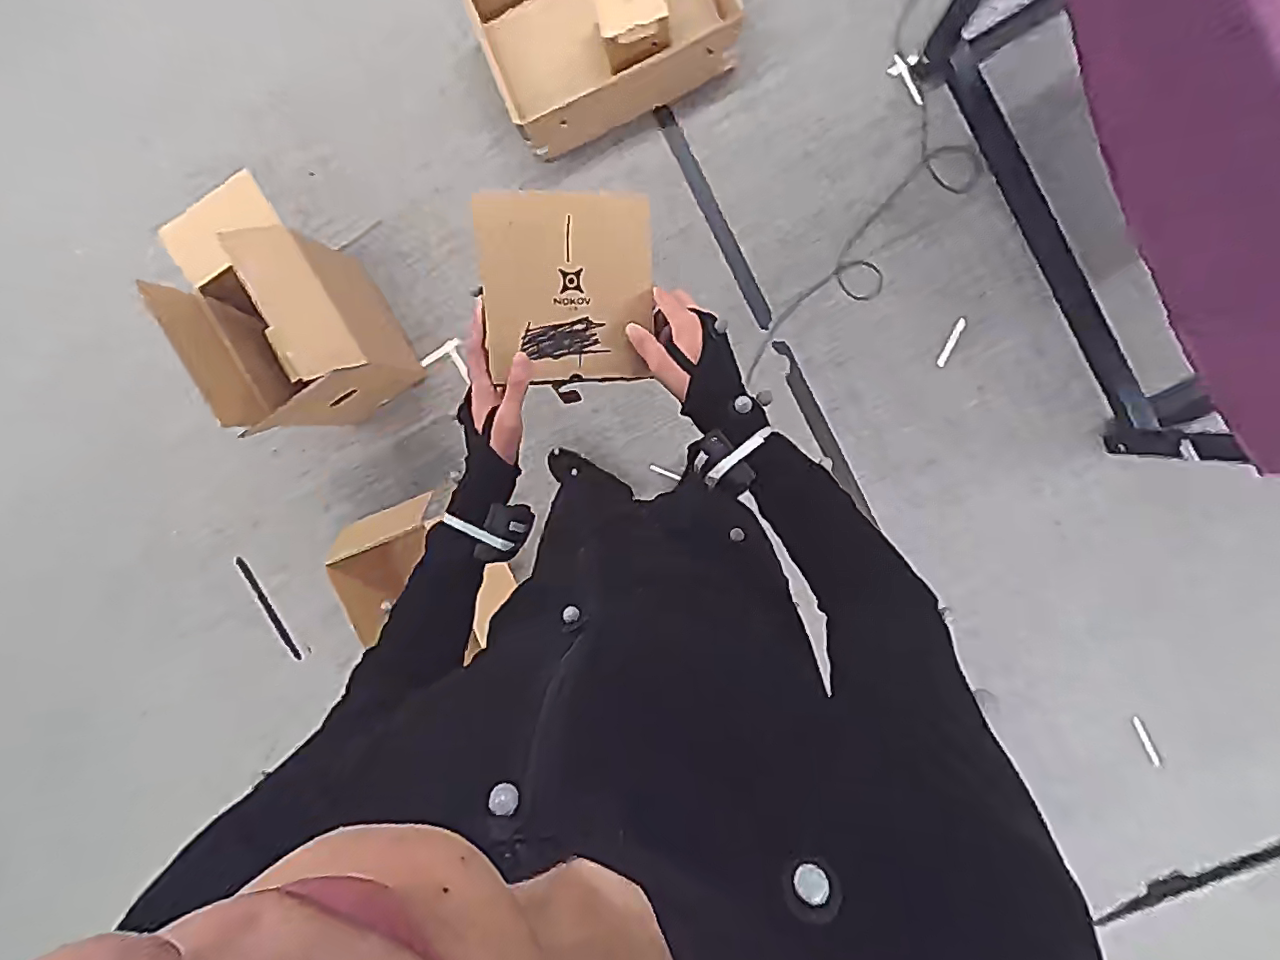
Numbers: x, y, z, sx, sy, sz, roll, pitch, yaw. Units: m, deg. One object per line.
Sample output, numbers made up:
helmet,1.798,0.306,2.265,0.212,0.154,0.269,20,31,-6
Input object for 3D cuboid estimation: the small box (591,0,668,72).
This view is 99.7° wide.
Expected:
small box,-0.029,-1.173,1.357,0.168,0.176,0.179,-14,95,7

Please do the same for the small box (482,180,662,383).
small box,-0.077,-0.200,0.583,0.168,0.176,0.179,-4,103,-14
